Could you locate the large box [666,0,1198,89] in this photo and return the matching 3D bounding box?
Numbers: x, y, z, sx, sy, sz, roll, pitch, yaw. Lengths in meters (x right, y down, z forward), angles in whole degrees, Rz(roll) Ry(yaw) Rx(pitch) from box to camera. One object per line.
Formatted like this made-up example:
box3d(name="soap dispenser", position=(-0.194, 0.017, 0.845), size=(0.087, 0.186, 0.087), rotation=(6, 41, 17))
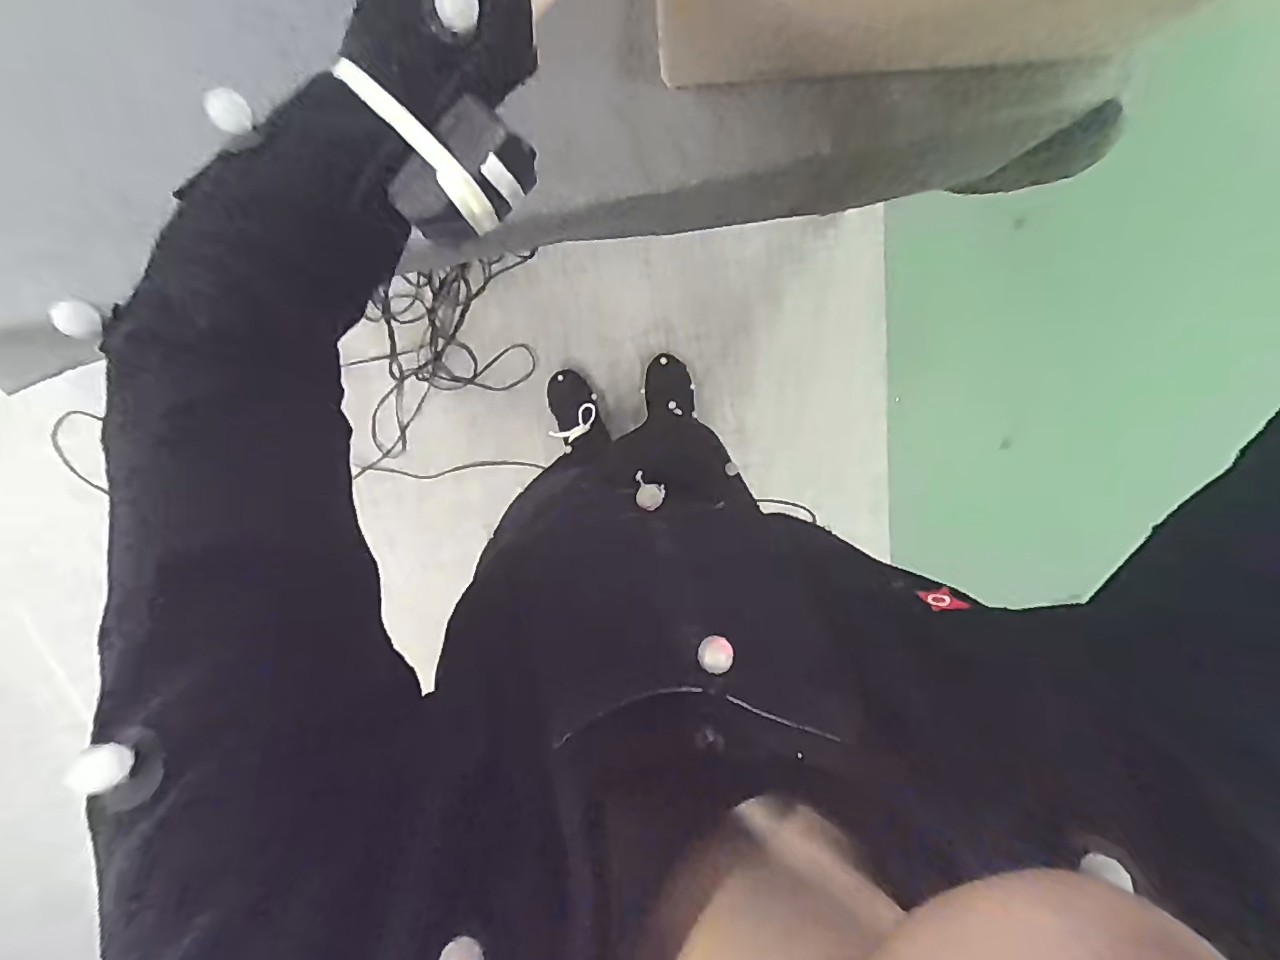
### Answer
box3d(name="large box", position=(0.208, -0.467, 0.299), size=(0.408, 0.320, 0.320), rotation=(-2, 108, 3))
